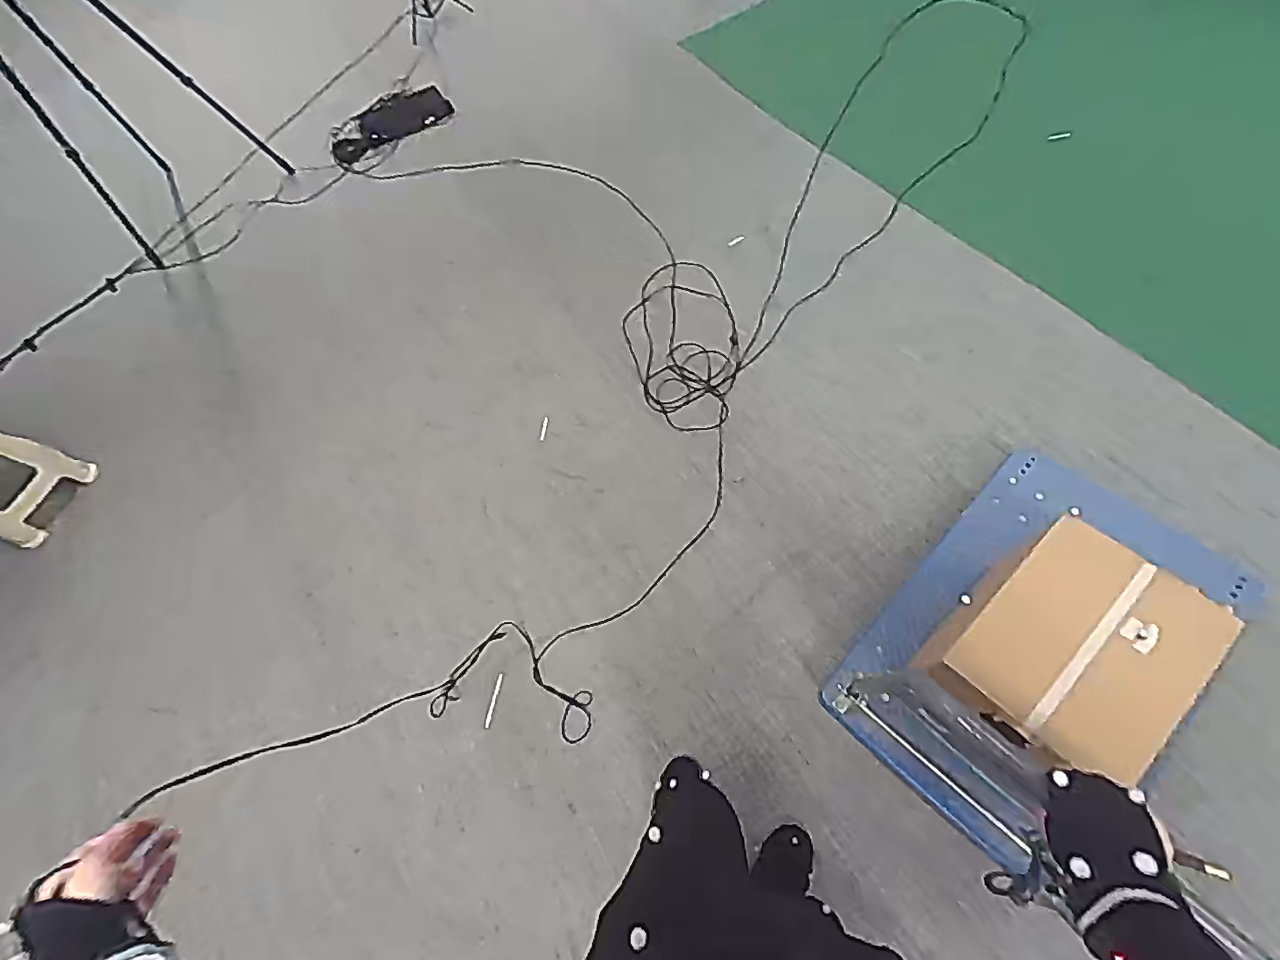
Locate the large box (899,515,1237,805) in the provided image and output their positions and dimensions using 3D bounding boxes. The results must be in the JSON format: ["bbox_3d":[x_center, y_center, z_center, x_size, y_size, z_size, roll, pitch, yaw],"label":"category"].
[{"bbox_3d":[0.802,0.355,1.076,0.408,0.320,0.320,-42,66,-12],"label":"large box"}]
